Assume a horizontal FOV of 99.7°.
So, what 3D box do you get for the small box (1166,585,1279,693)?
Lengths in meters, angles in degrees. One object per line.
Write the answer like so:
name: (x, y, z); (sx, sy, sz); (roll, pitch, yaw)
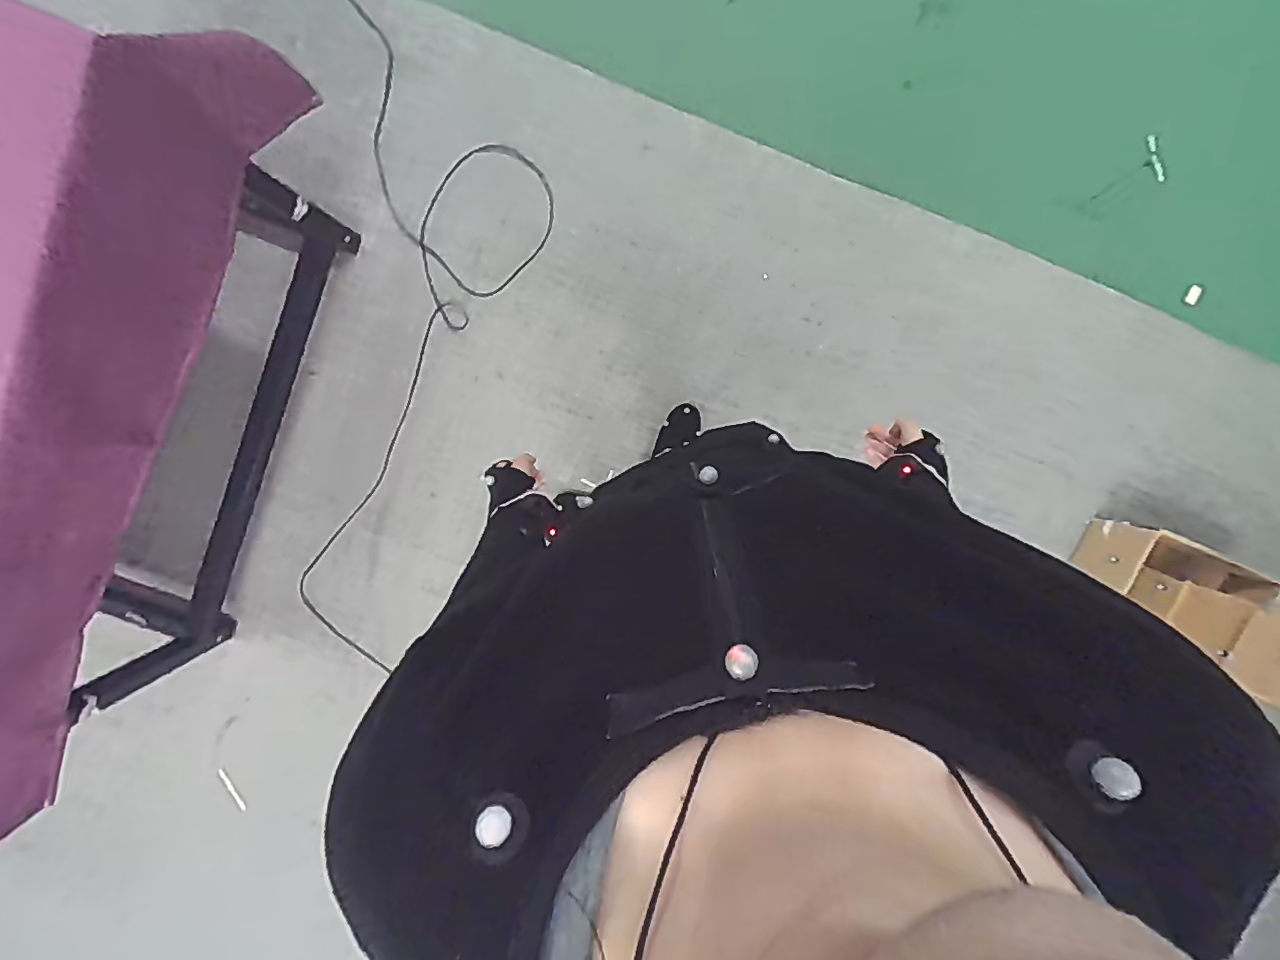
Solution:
small box: (1.408, 0.367, 1.265); (0.168, 0.176, 0.179); (20, 97, -2)
